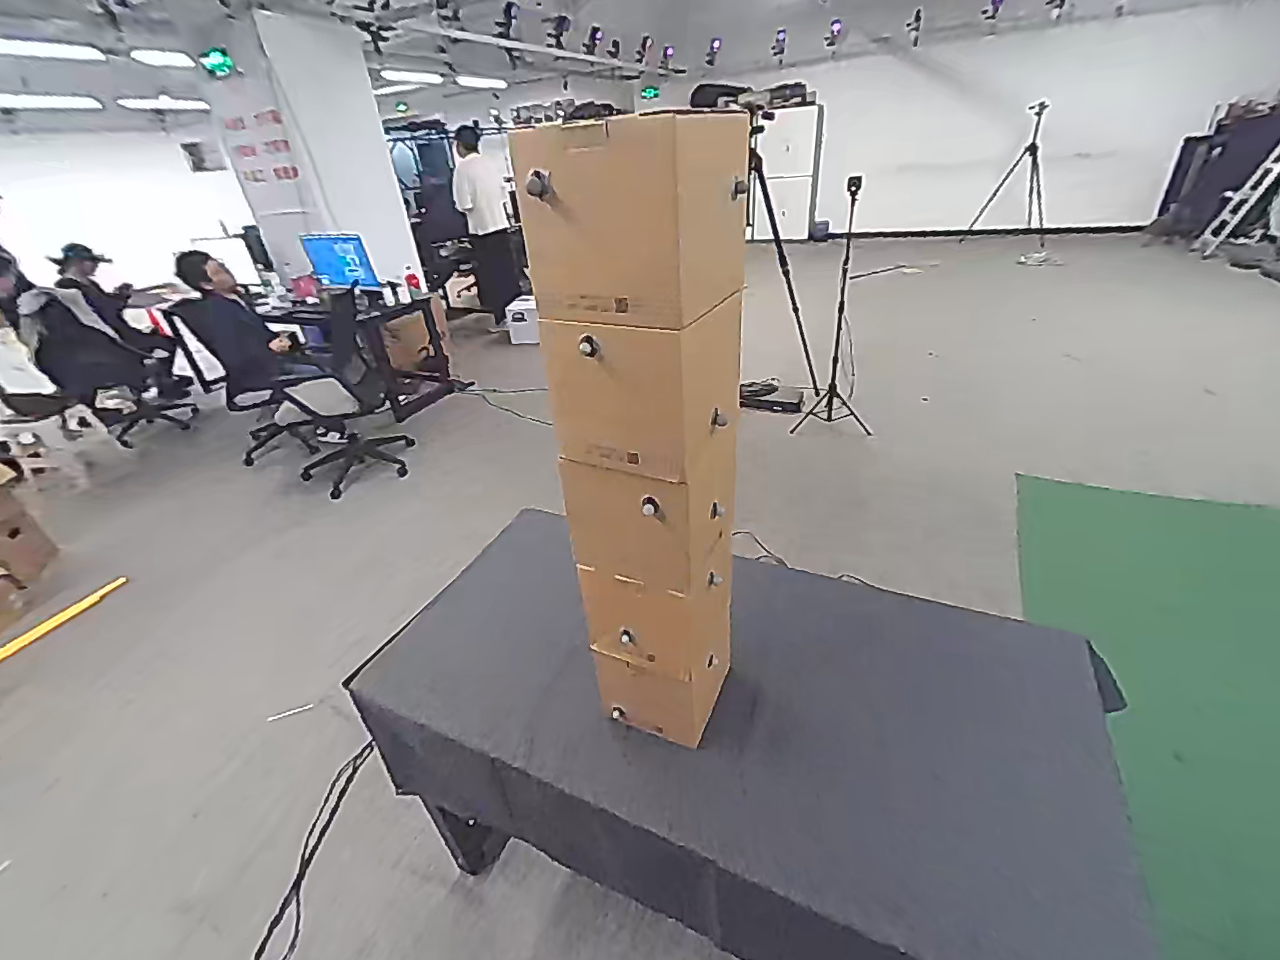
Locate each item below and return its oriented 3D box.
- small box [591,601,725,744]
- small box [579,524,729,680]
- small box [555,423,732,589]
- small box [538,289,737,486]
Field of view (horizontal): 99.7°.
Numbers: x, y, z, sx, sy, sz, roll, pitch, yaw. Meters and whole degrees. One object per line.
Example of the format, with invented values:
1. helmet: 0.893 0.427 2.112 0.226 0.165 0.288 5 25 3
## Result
1. small box: 0.041 0.297 0.897 0.168 0.176 0.179 10 34 24
2. small box: 0.027 0.160 0.812 0.168 0.176 0.179 10 35 24
3. small box: 0.014 0.022 0.724 0.179 0.176 0.168 11 35 25
4. small box: 0.005 -0.117 0.637 0.168 0.176 0.179 12 35 26
